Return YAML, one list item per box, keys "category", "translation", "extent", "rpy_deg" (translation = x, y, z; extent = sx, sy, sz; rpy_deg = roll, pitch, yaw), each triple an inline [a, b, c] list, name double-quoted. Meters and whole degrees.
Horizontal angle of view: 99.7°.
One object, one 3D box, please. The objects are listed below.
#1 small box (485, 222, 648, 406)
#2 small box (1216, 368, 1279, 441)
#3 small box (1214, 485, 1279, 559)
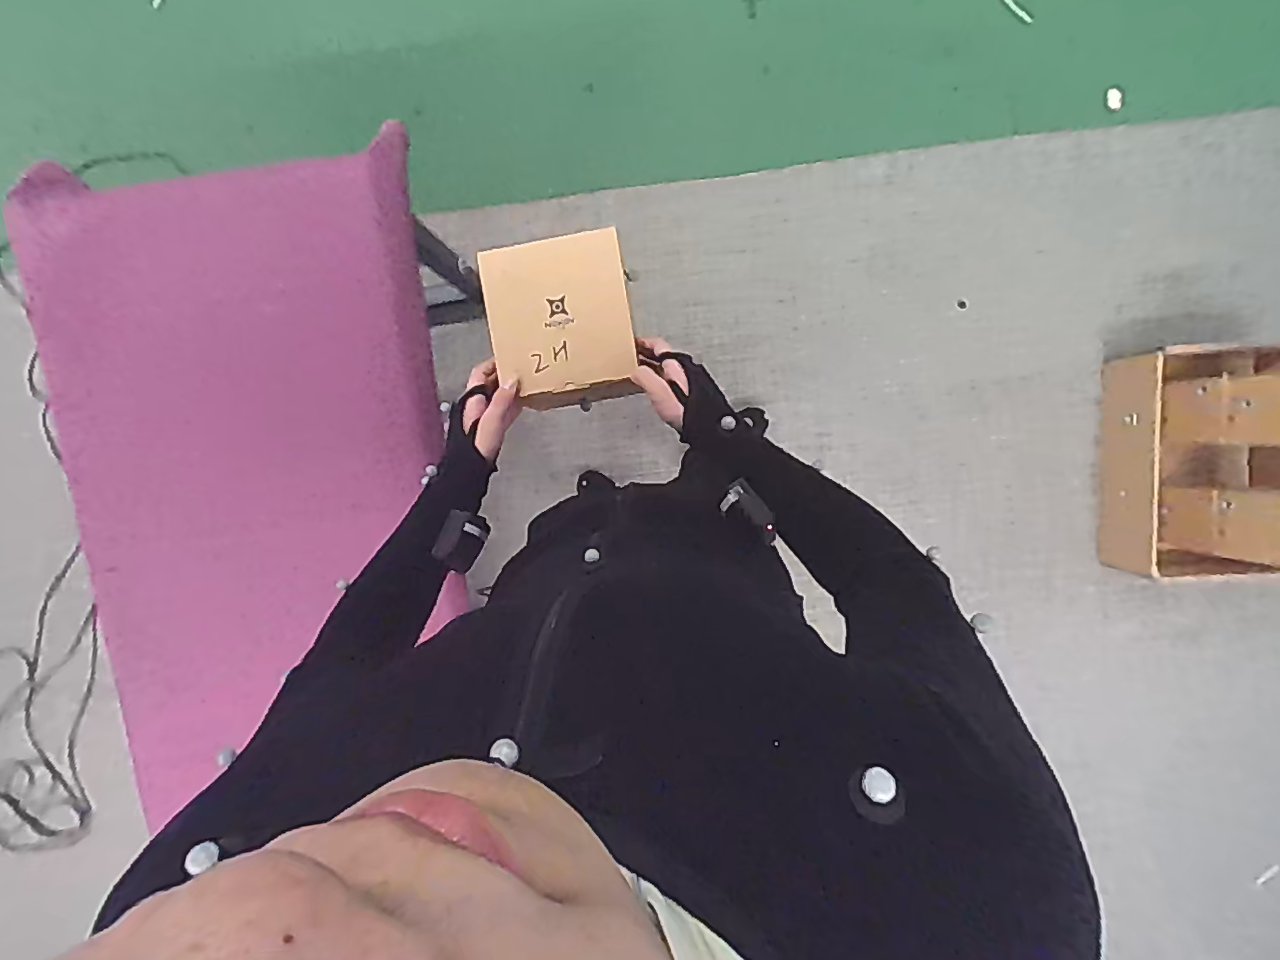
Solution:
- category: "small box"
  translation: [-0.082, -0.197, 0.692]
  extent: [0.168, 0.176, 0.179]
  rpy_deg: [-8, 93, 3]
- category: "small box"
  translation: [1.542, -0.181, 1.278]
  extent: [0.179, 0.176, 0.168]
  rpy_deg: [-3, 96, 0]
- category: "small box"
  translation: [1.550, 0.101, 1.300]
  extent: [0.179, 0.176, 0.168]
  rpy_deg: [-1, 93, -1]
